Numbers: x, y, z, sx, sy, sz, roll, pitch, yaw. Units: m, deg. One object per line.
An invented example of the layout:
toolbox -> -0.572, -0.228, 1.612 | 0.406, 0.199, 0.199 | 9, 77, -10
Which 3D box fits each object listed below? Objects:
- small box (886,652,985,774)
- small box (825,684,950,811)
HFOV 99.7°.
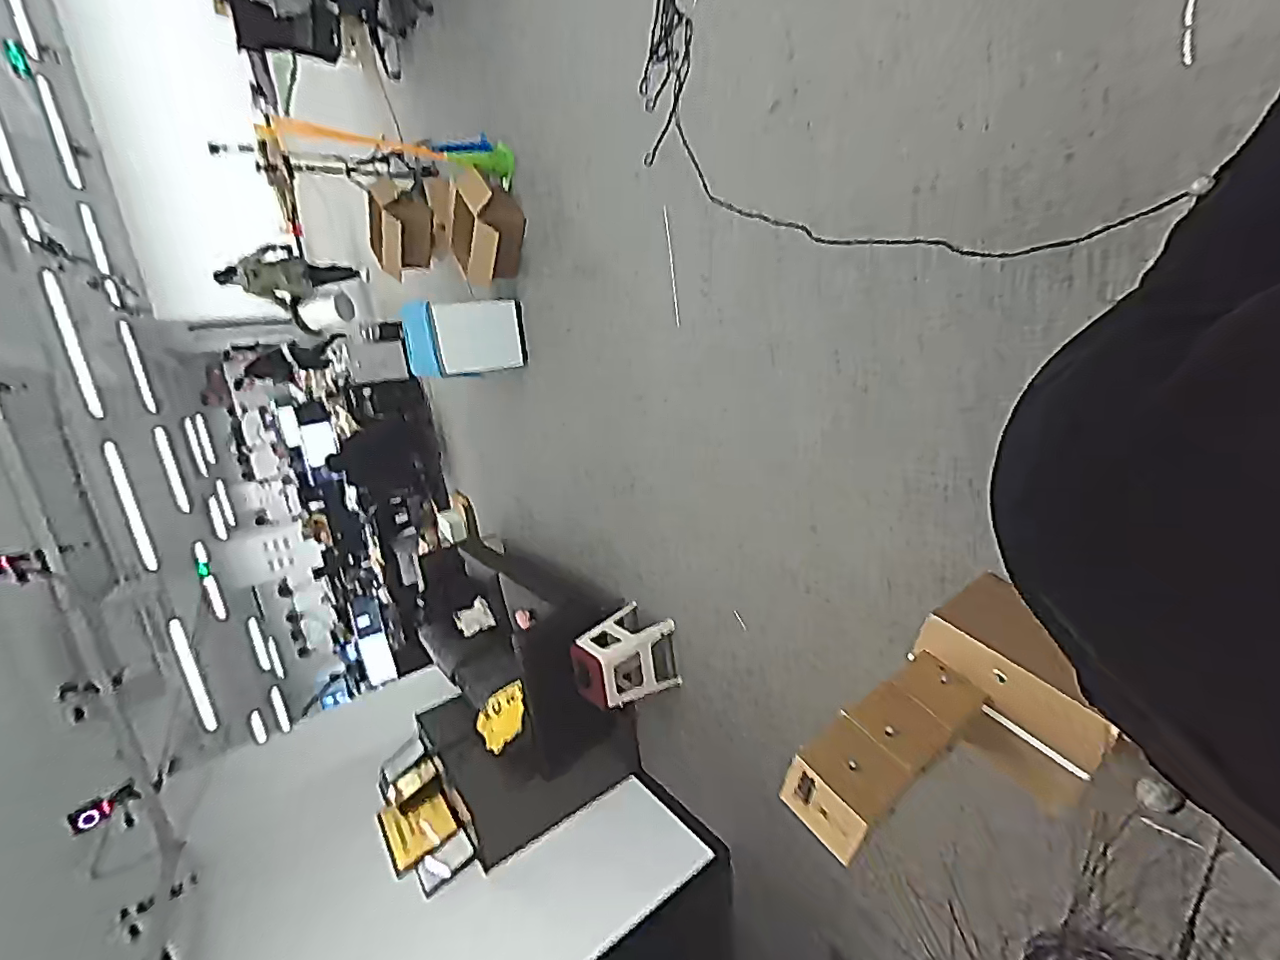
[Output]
small box -> 0.700, 0.561, 1.318 | 0.168, 0.176, 0.179 | 36, 133, 43
small box -> 0.564, 0.597, 1.238 | 0.179, 0.176, 0.168 | 37, 134, 42
